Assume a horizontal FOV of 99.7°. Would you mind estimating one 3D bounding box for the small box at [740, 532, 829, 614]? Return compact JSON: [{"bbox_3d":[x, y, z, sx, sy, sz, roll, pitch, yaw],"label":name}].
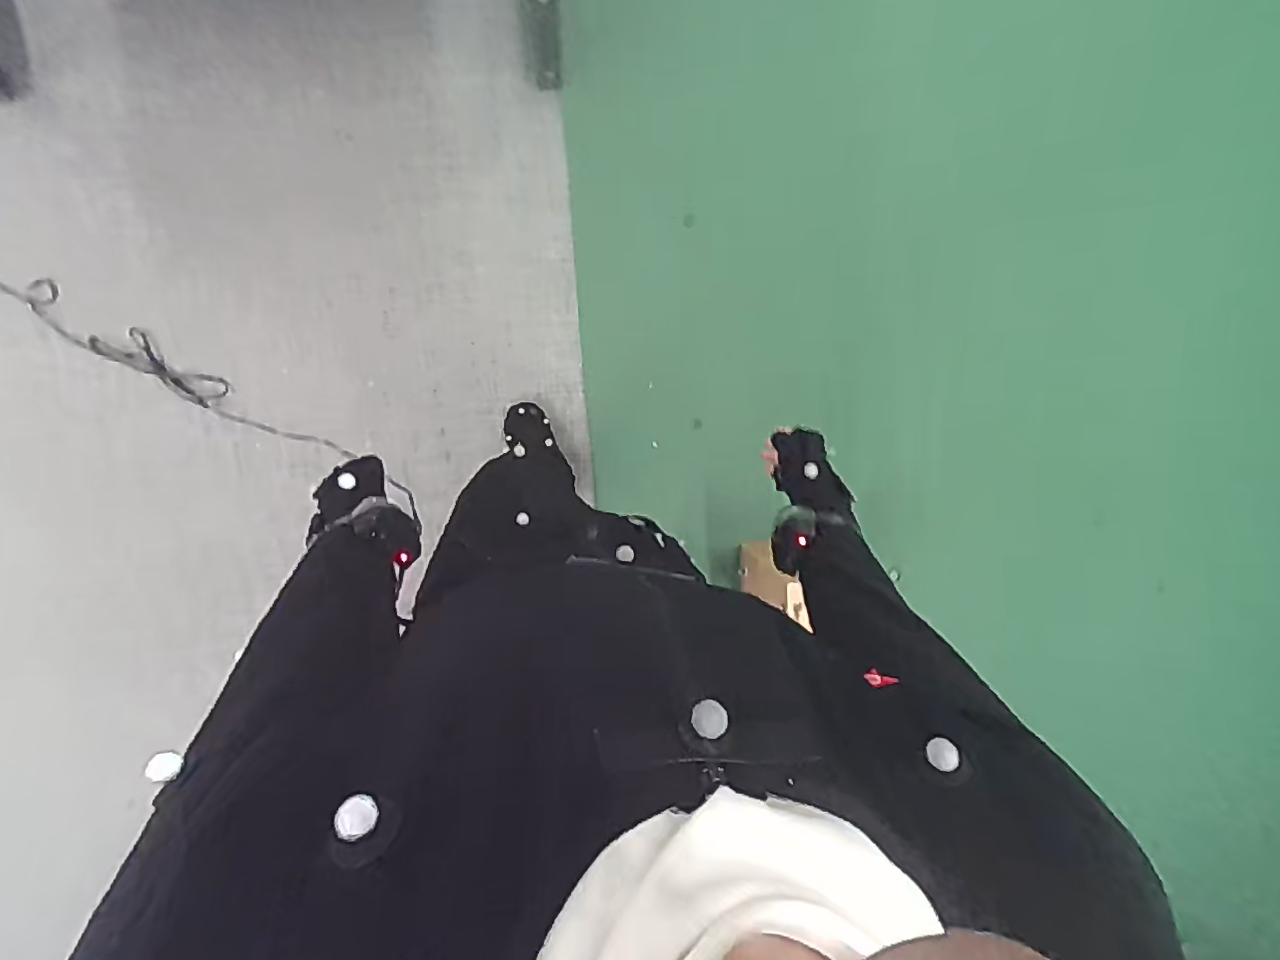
[{"bbox_3d":[0.370,0.236,1.406,0.179,0.176,0.168,-3,98,-7],"label":"small box"}]
